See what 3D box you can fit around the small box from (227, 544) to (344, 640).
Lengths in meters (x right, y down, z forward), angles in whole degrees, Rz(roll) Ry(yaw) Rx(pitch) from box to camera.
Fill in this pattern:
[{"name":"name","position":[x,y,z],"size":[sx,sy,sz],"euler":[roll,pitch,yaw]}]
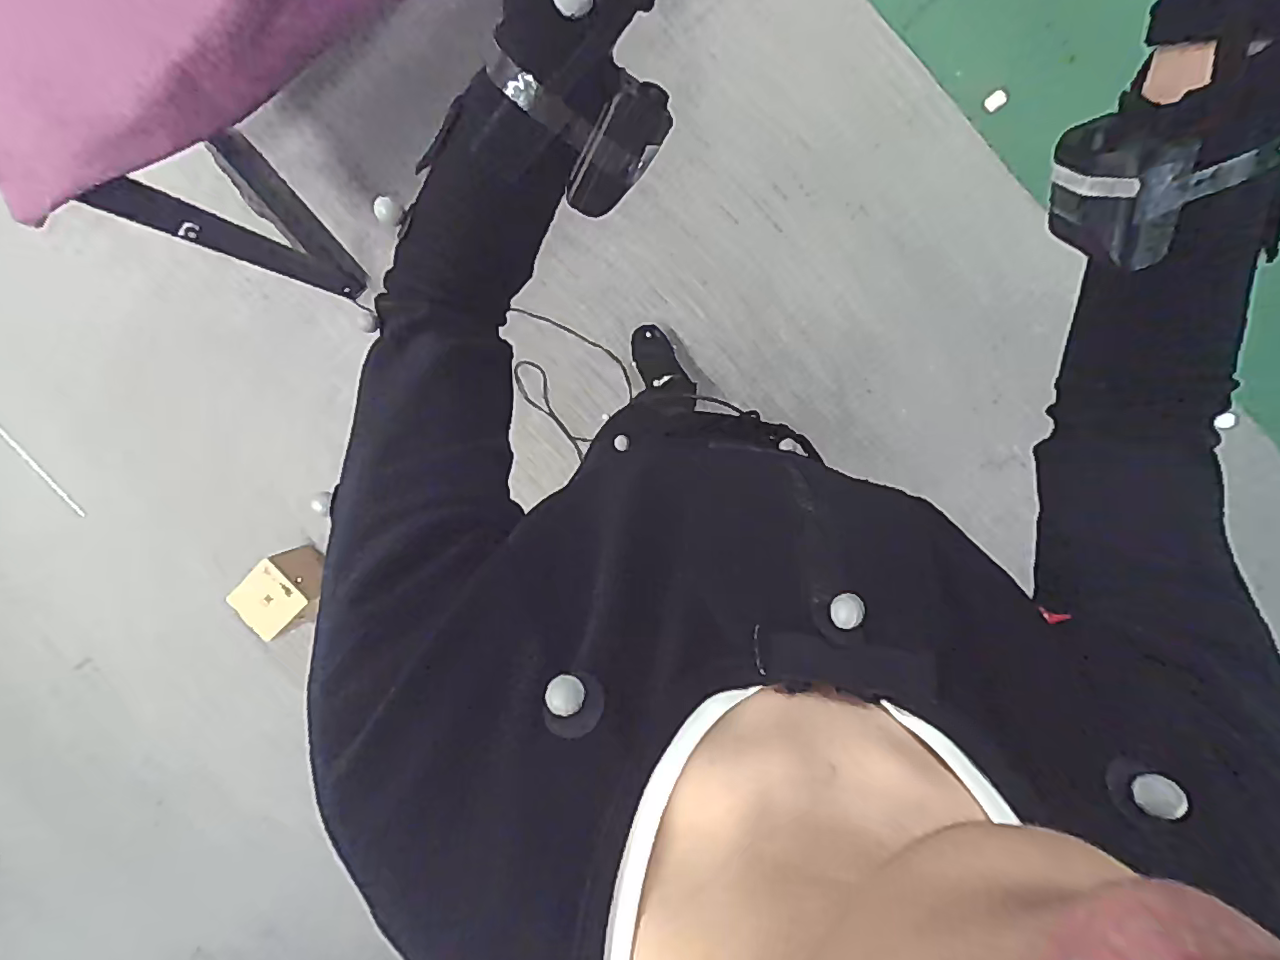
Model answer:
[{"name":"small box","position":[-0.977,0.306,1.507],"size":[0.179,0.176,0.168],"euler":[-42,91,8]}]
